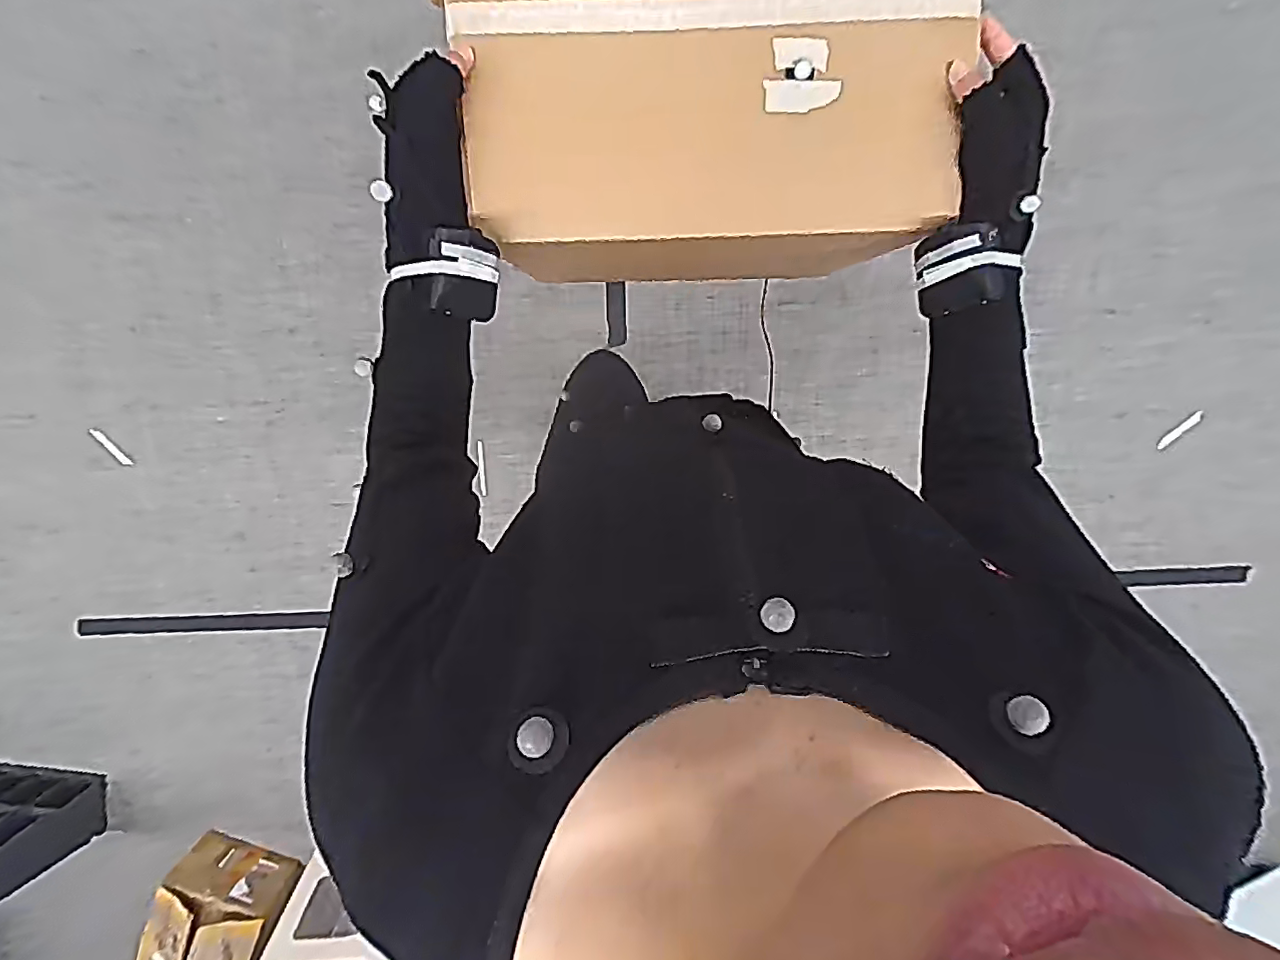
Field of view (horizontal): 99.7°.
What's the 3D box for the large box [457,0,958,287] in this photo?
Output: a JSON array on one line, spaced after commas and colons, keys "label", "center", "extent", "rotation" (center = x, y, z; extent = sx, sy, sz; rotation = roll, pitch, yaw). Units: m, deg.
[{"label": "large box", "center": [0.051, -0.394, 0.576], "extent": [0.408, 0.320, 0.320], "rotation": [-2, 104, -1]}]
